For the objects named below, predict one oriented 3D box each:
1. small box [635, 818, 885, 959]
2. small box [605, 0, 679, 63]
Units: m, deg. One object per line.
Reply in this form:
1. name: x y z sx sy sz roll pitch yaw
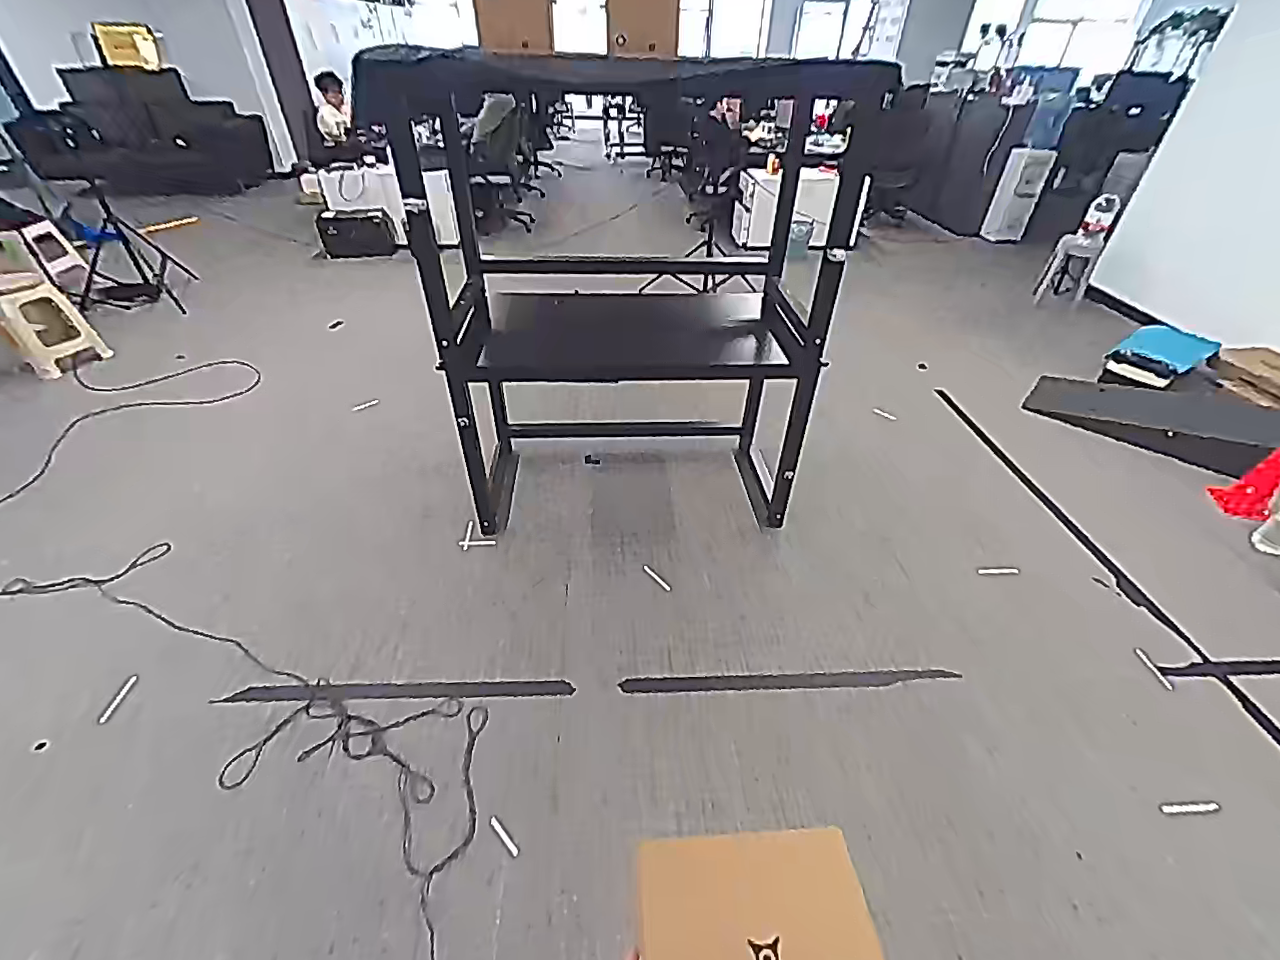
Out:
1. small box: 0.084 0.393 0.411 0.168 0.176 0.179 -2 36 -4
2. small box: 0.002 -1.074 1.249 0.168 0.176 0.179 -1 37 -3
